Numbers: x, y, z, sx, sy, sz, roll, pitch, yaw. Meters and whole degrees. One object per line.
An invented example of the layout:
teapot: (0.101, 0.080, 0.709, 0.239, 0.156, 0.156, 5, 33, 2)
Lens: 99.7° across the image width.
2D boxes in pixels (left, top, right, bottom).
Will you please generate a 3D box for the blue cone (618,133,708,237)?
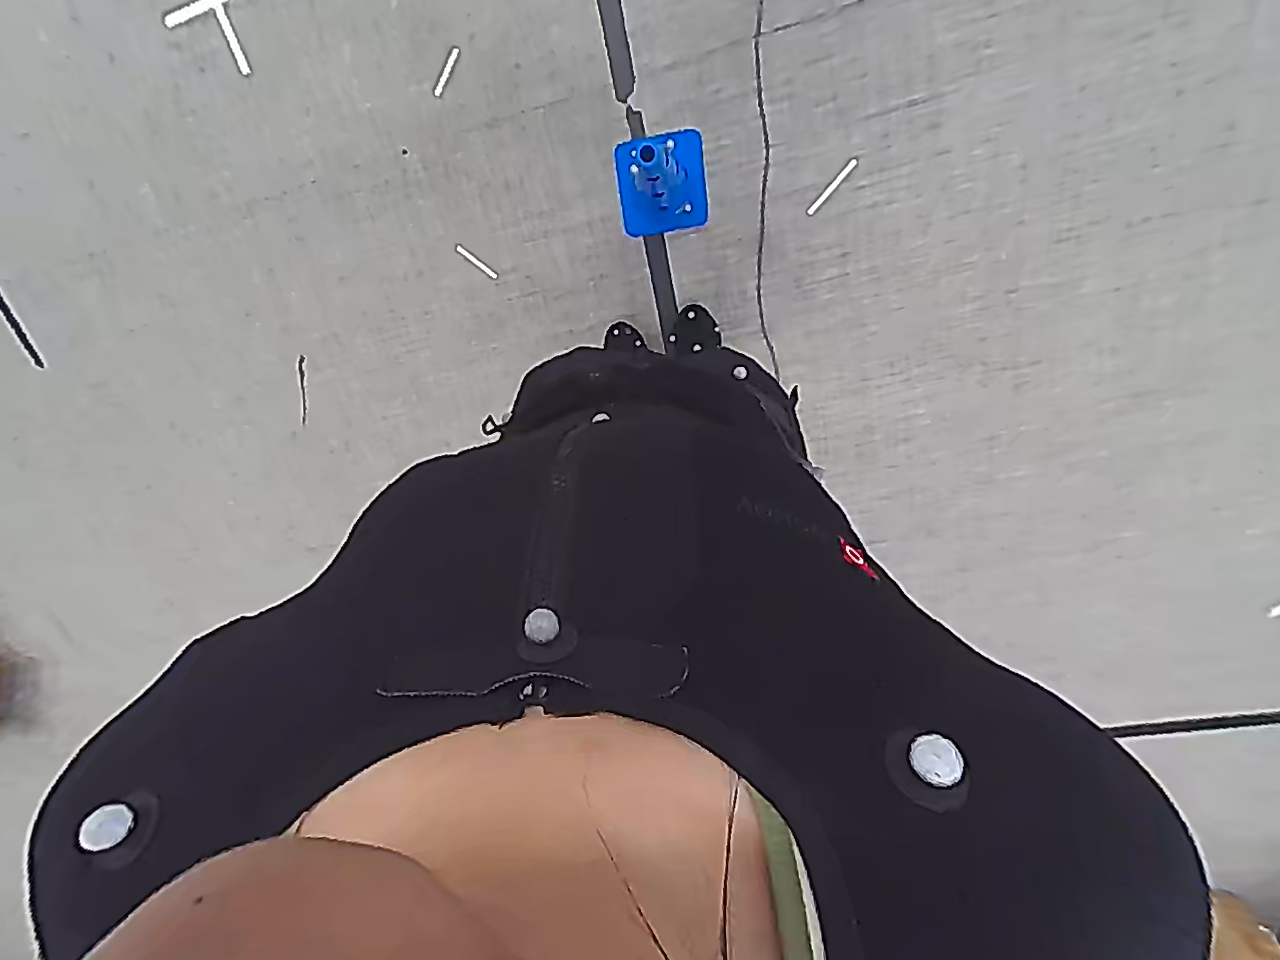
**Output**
blue cone: (0.036, -0.610, 1.073, 0.193, 0.380, 0.192, -7, 110, 8)
